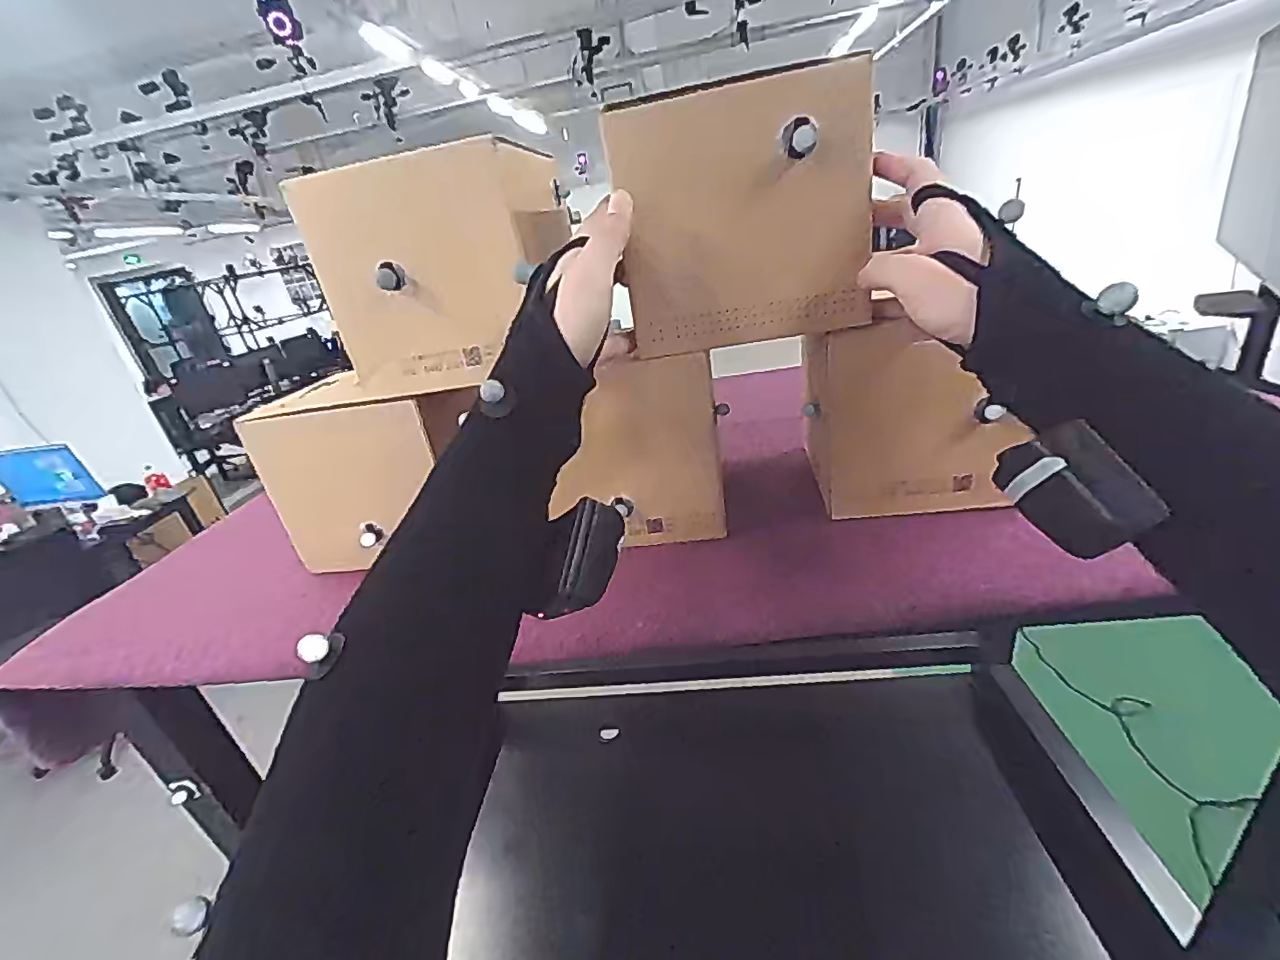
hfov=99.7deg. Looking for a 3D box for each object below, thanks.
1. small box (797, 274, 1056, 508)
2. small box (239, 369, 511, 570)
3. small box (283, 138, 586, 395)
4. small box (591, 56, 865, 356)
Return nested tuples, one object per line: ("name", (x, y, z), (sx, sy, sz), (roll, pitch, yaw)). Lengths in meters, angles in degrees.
("small box", (0.241, -0.081, 0.499), (0.168, 0.176, 0.179), (-5, 24, 12))
("small box", (-0.255, -0.020, 0.573), (0.179, 0.176, 0.168), (-6, 25, 9))
("small box", (-0.156, -0.180, 0.483), (0.168, 0.176, 0.179), (-7, 25, 10))
("small box", (0.073, -0.211, 0.446), (0.179, 0.176, 0.168), (-6, 24, 10))
